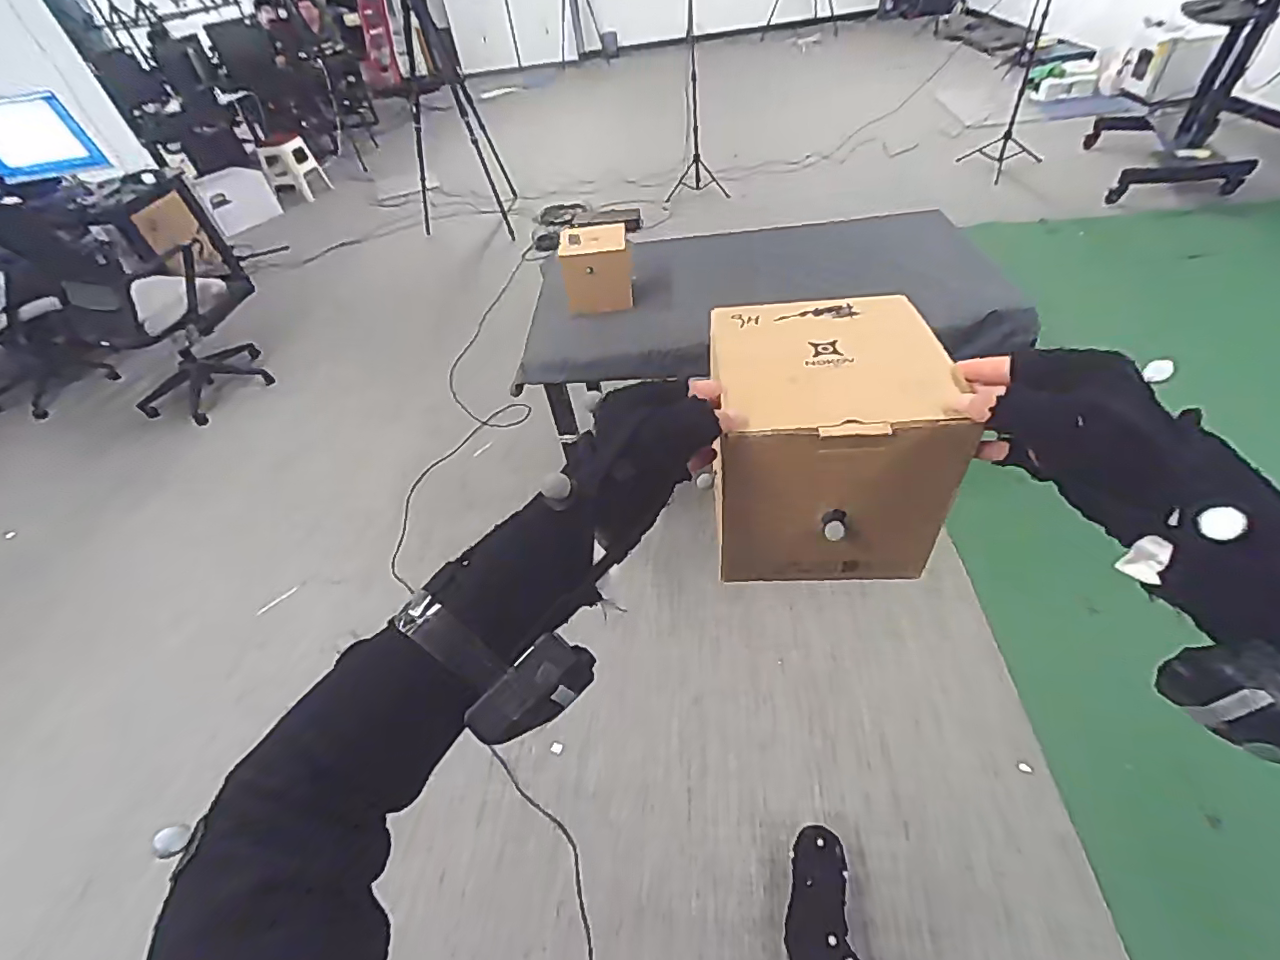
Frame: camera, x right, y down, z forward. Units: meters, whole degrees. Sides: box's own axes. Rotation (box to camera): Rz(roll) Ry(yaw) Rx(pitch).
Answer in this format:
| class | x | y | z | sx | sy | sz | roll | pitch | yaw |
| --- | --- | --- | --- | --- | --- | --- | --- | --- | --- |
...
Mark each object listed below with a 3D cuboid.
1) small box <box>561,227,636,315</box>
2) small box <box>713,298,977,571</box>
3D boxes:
| class | x | y | z | sx | sy | sz | roll | pitch | yaw |
| --- | --- | --- | --- | --- | --- | --- | --- | --- | --- |
| small box | -0.106 | -0.561 | 1.466 | 0.179 | 0.176 | 0.168 | -5 | 46 | 3 |
| small box | 0.151 | -0.034 | 0.469 | 0.168 | 0.176 | 0.179 | -2 | 45 | 6 |
